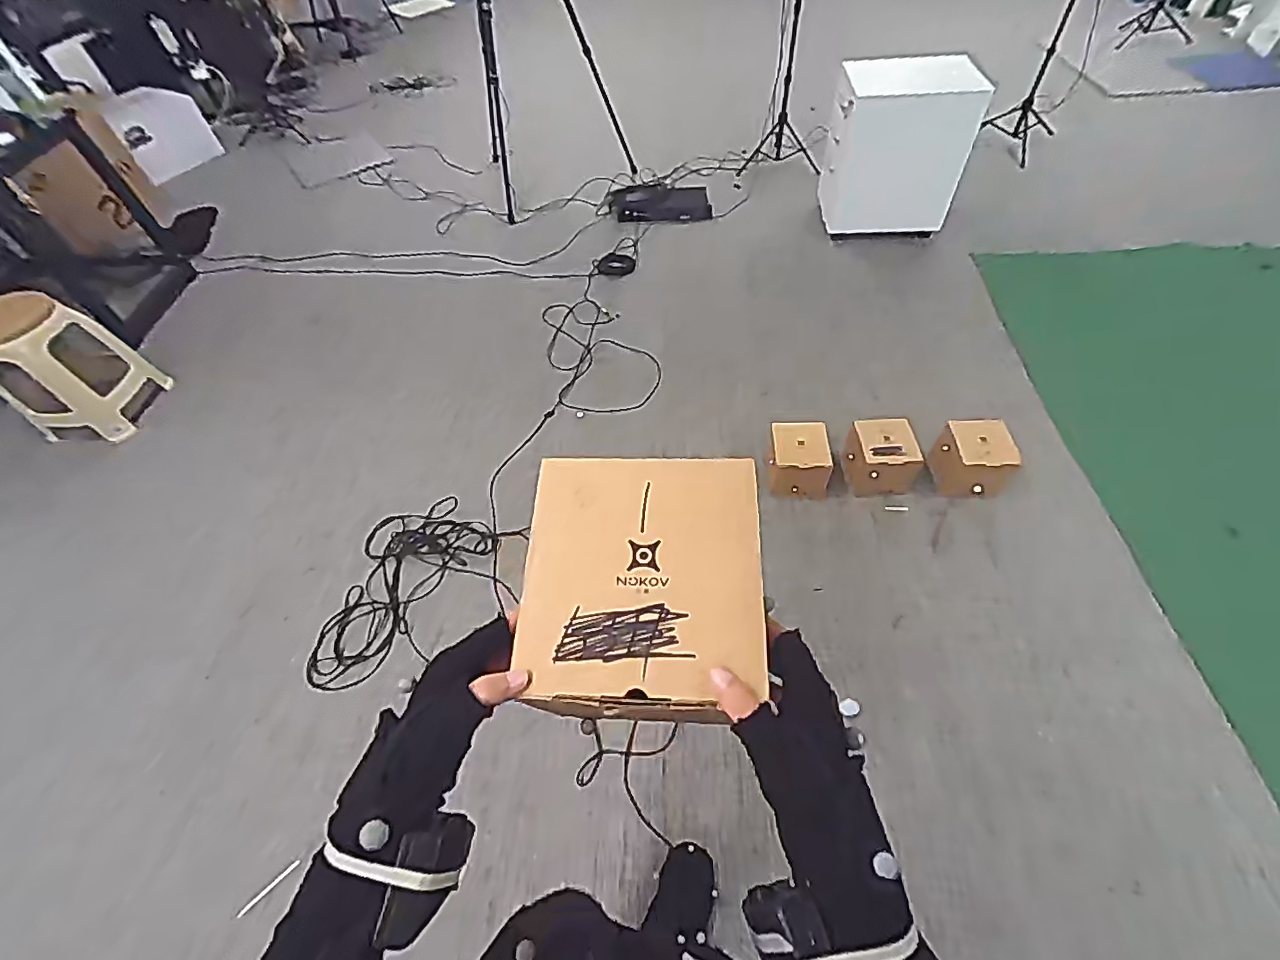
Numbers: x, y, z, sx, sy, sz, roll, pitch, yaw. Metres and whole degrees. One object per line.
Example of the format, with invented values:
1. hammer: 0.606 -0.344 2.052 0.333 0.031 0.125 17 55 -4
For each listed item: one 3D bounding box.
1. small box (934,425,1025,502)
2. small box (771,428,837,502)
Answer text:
1. small box: 1.041 -0.051 1.677 0.168 0.176 0.179 0 54 6
2. small box: 0.513 -0.048 1.721 0.168 0.176 0.179 0 53 6
